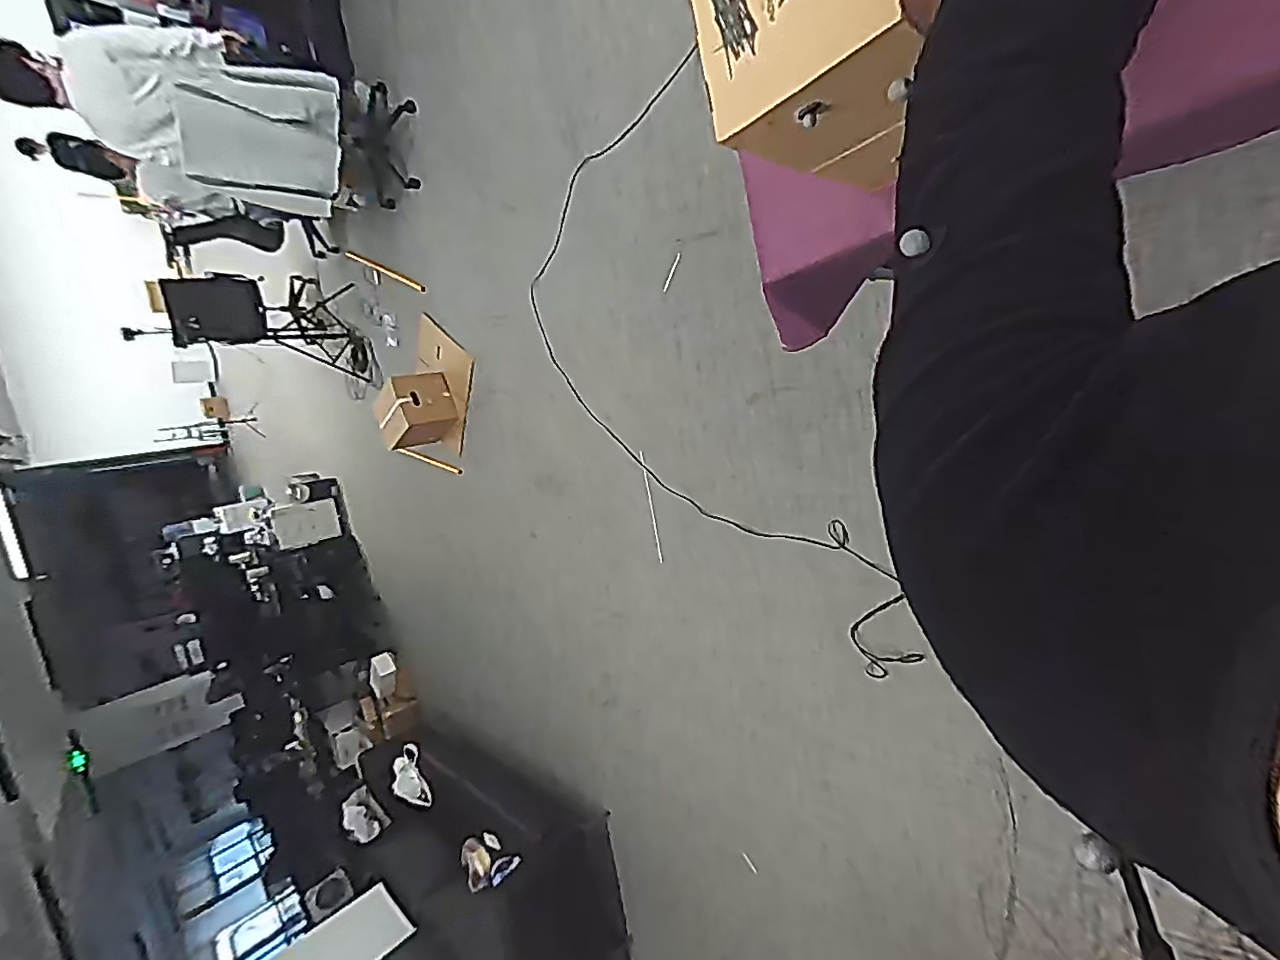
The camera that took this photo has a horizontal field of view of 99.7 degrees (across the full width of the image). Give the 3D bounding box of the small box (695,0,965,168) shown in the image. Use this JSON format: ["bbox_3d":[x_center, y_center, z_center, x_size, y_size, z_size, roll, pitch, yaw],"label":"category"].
[{"bbox_3d":[0.177,-0.428,0.511,0.179,0.176,0.168,-7,97,46],"label":"small box"}]
